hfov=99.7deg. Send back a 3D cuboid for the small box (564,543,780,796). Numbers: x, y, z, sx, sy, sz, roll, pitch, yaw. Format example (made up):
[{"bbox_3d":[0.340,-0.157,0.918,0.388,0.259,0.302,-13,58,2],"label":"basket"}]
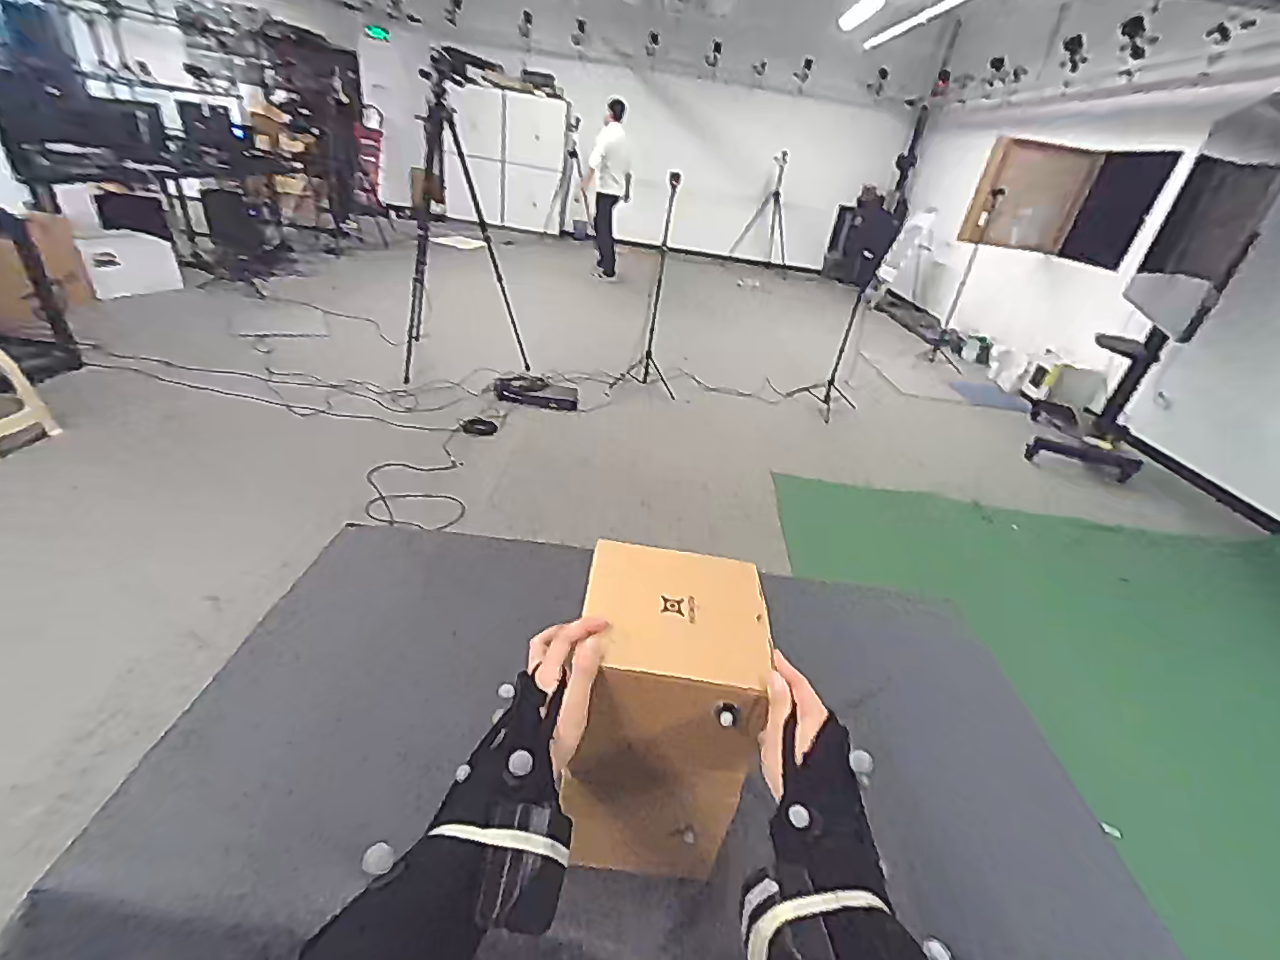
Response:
[{"bbox_3d":[0.023,0.189,0.547,0.179,0.176,0.168,9,31,-2],"label":"small box"}]
